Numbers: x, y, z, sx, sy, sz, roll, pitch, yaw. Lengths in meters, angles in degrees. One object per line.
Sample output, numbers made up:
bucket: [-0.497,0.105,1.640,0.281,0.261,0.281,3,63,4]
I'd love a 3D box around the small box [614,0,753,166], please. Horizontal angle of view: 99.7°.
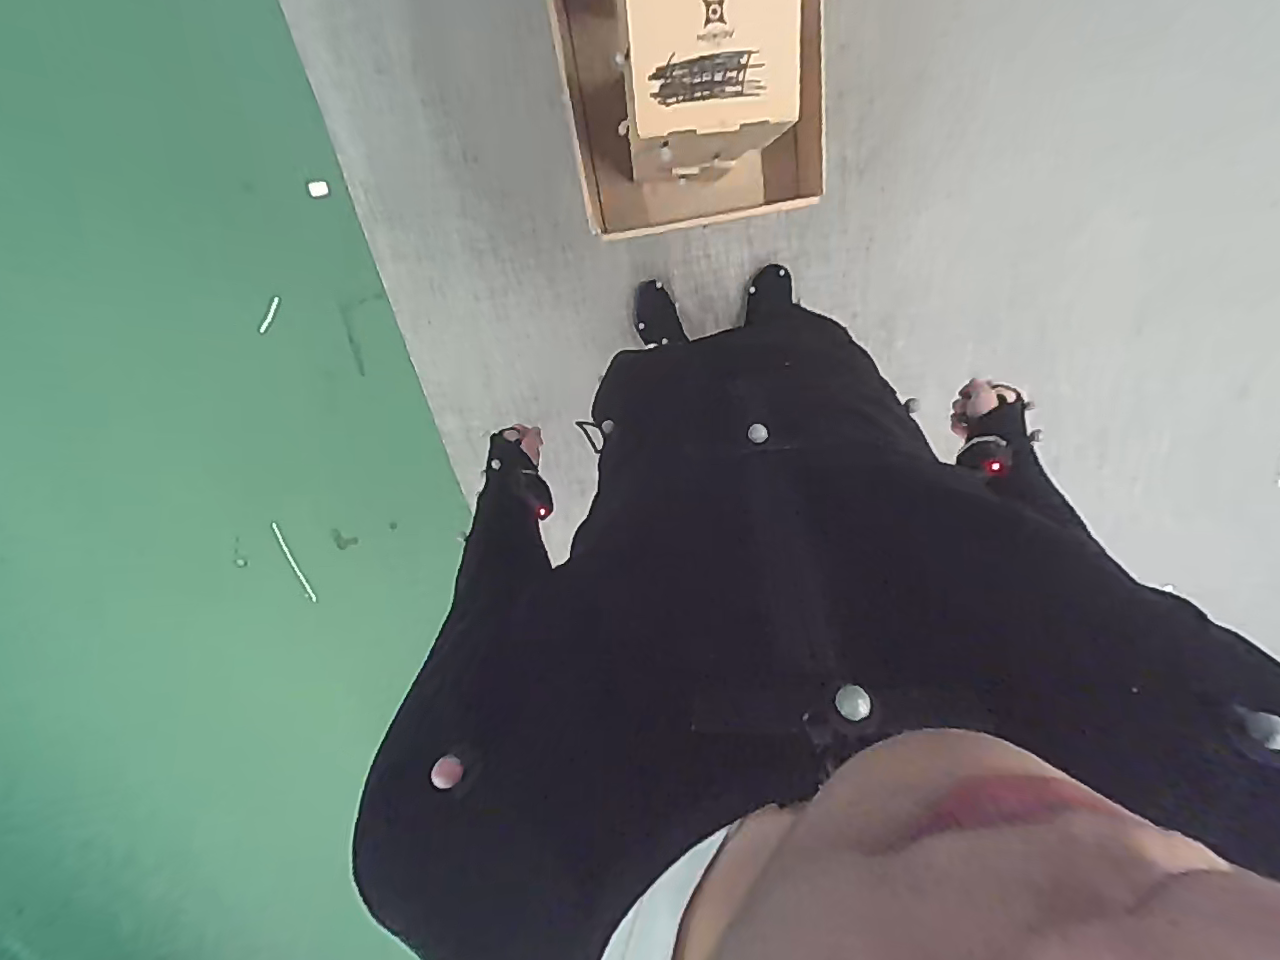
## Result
small box: [0.057,-0.541,0.739,0.168,0.176,0.179,-5,113,1]
